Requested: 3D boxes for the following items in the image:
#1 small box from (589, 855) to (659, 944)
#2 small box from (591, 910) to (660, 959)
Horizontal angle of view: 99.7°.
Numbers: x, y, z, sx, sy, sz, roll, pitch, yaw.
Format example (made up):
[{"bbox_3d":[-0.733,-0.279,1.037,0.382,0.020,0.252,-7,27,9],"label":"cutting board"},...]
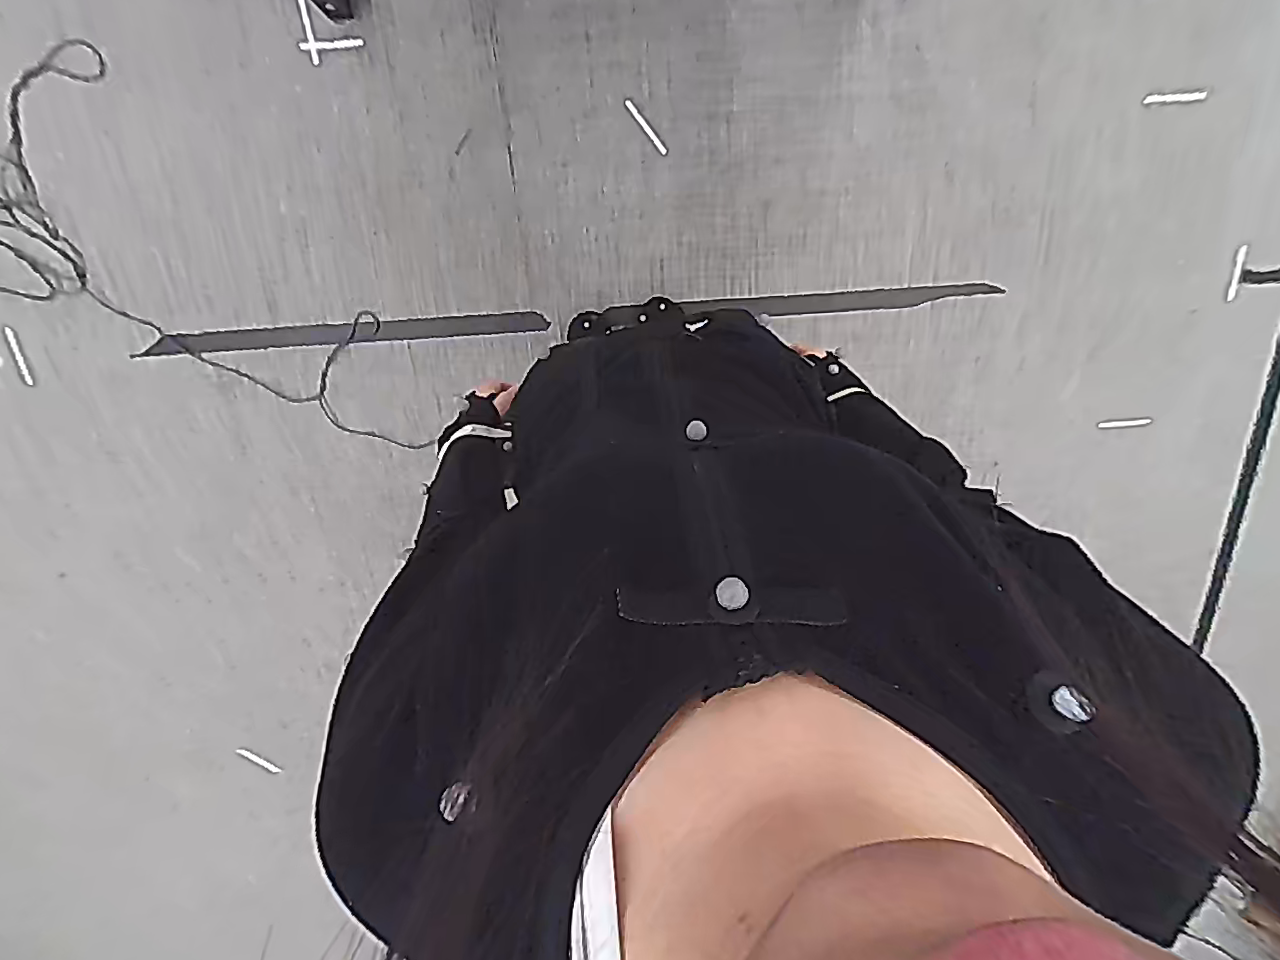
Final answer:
[{"bbox_3d":[-0.044,1.187,1.510,0.179,0.176,0.168,-6,107,0],"label":"small box"},{"bbox_3d":[-0.032,1.228,1.354,0.168,0.176,0.179,-5,107,-2],"label":"small box"}]
